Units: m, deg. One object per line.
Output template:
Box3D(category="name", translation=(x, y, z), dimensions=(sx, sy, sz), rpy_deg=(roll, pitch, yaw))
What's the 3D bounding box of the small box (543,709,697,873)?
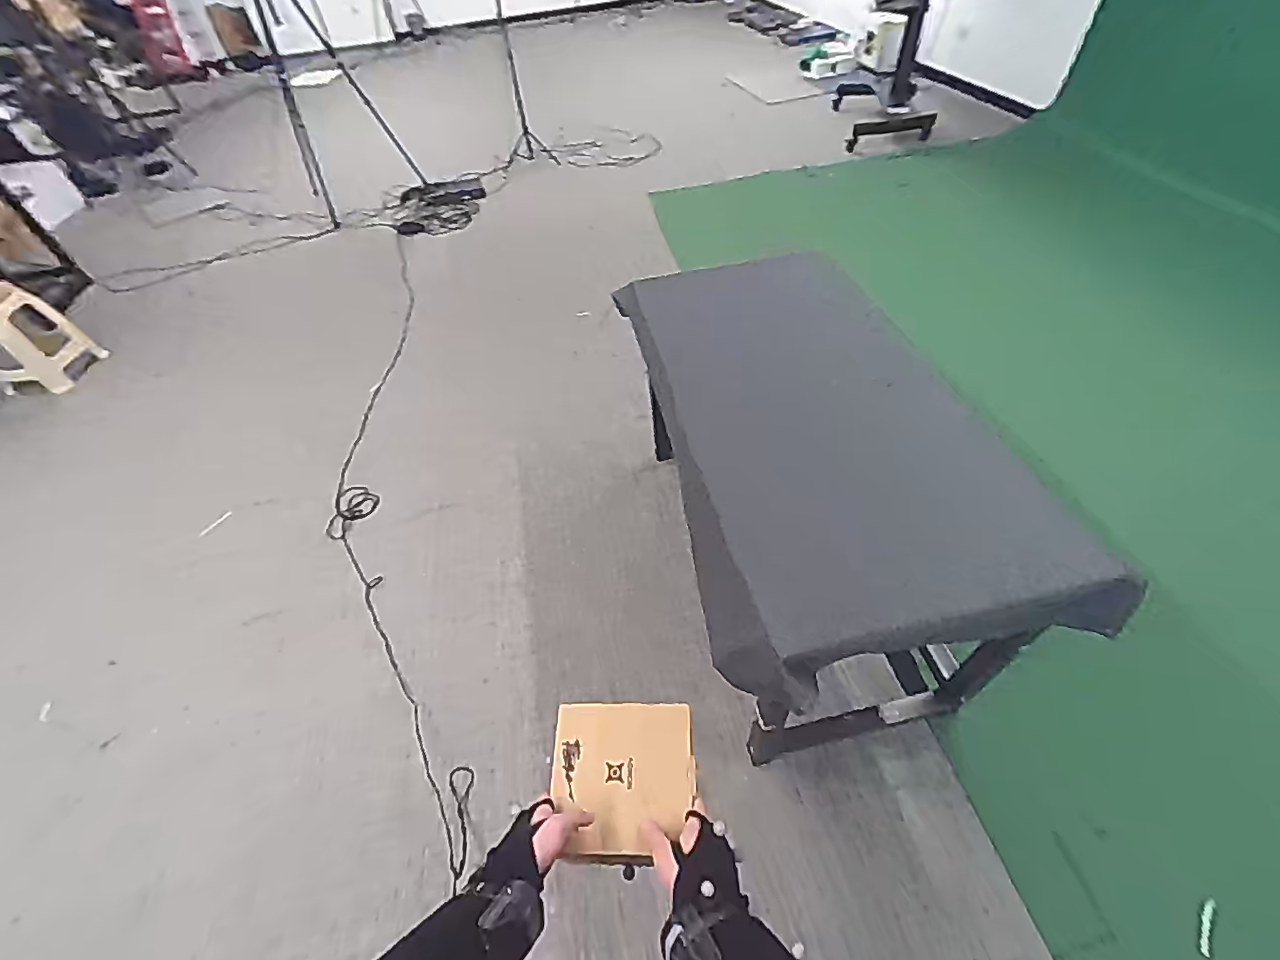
Box3D(category="small box", translation=(-0.017, 0.415, 0.719), dimensions=(0.179, 0.176, 0.168), rpy_deg=(-1, 51, 4))
